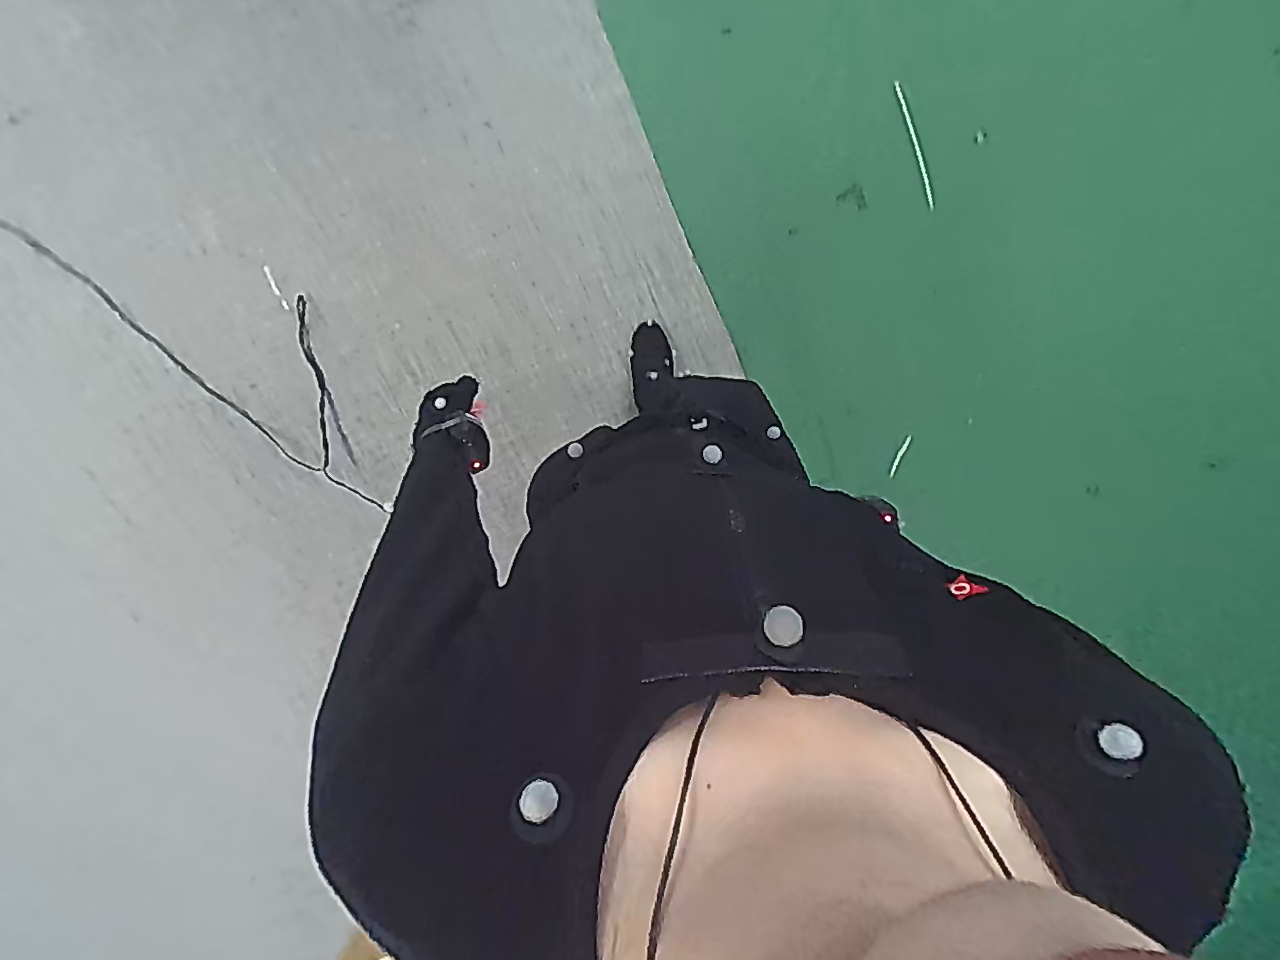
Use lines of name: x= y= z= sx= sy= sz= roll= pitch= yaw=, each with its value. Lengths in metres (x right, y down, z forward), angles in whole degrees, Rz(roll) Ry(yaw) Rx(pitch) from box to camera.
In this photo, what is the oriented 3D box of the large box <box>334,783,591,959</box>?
large box: x=-0.349 y=0.953 z=1.165 sx=0.408 sy=0.320 sz=0.320 roll=-23 pitch=97 yaw=-1
